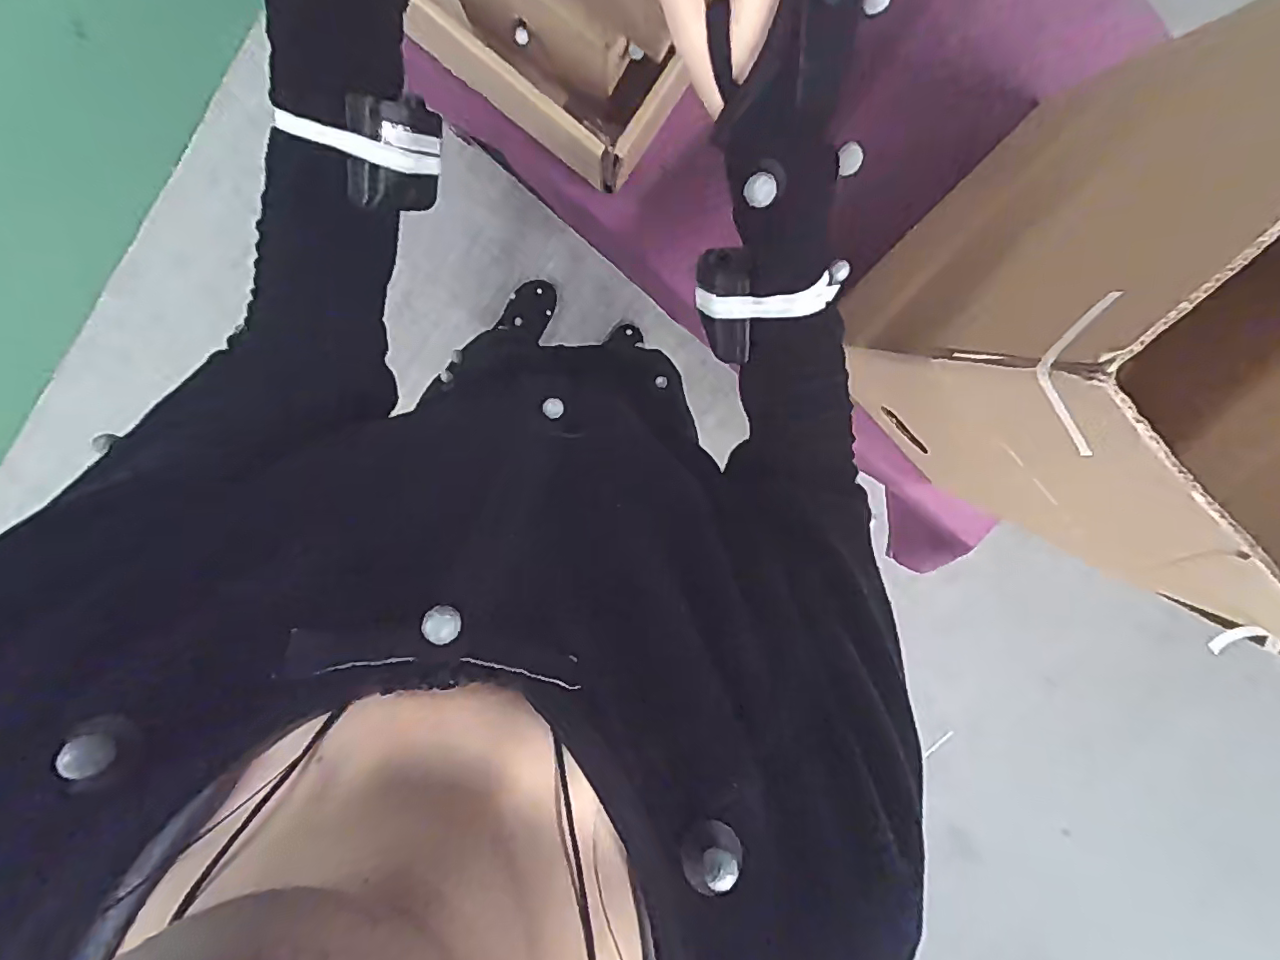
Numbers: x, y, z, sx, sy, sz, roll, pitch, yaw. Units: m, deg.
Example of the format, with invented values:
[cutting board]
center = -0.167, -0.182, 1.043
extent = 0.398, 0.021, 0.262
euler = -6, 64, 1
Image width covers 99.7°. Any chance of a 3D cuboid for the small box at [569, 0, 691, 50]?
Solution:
[small box]
center = -0.020, -0.385, 0.288
extent = 0.179, 0.176, 0.168
euler = 31, 110, -11
